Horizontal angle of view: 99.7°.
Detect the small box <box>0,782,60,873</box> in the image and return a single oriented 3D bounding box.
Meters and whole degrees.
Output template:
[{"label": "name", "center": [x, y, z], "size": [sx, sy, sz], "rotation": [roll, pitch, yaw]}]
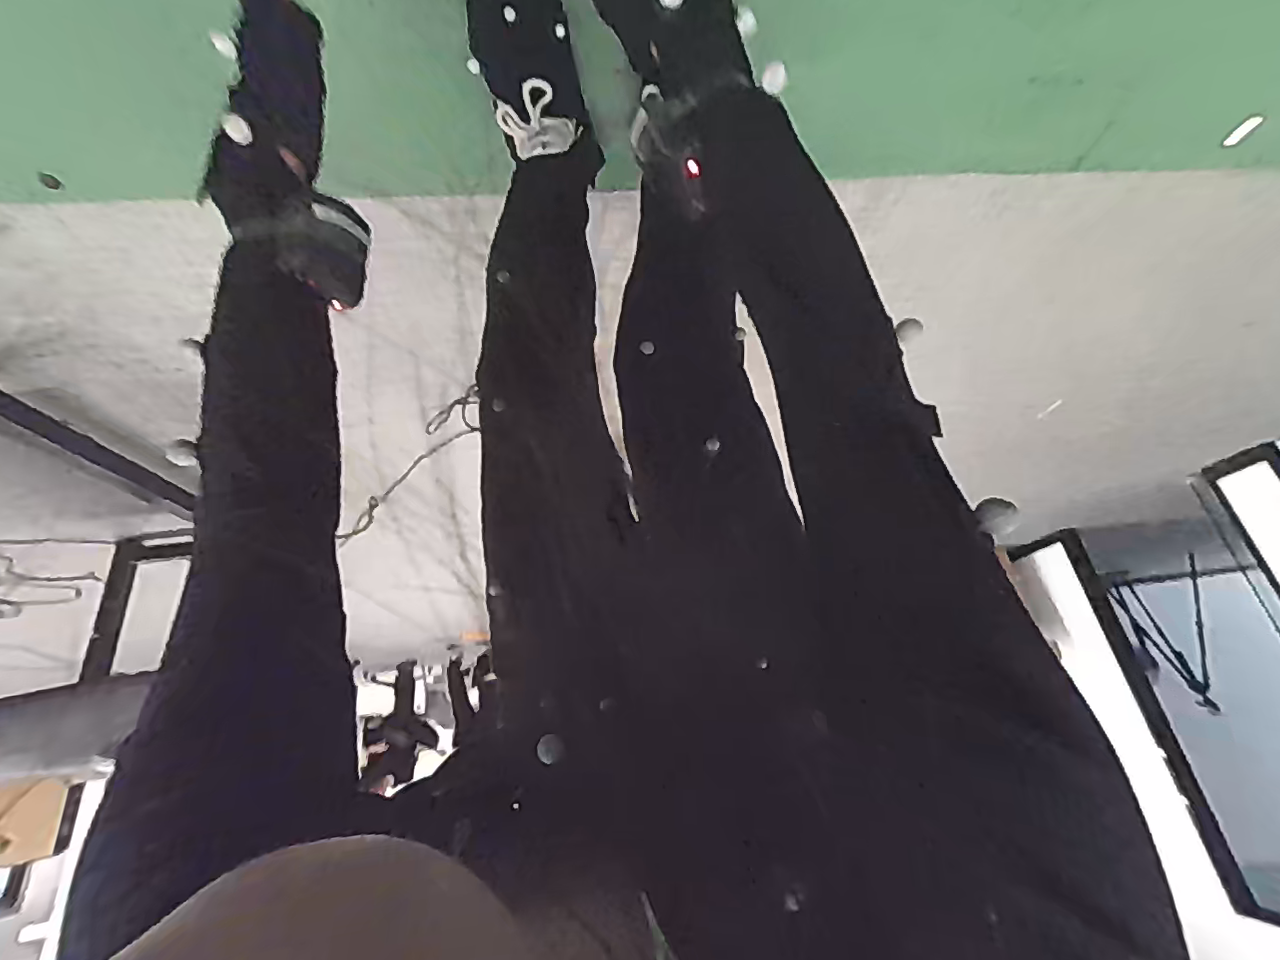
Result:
[{"label": "small box", "center": [-1.447, 0.771, 1.178], "size": [0.168, 0.176, 0.179], "rotation": [-6, 155, -8]}]
